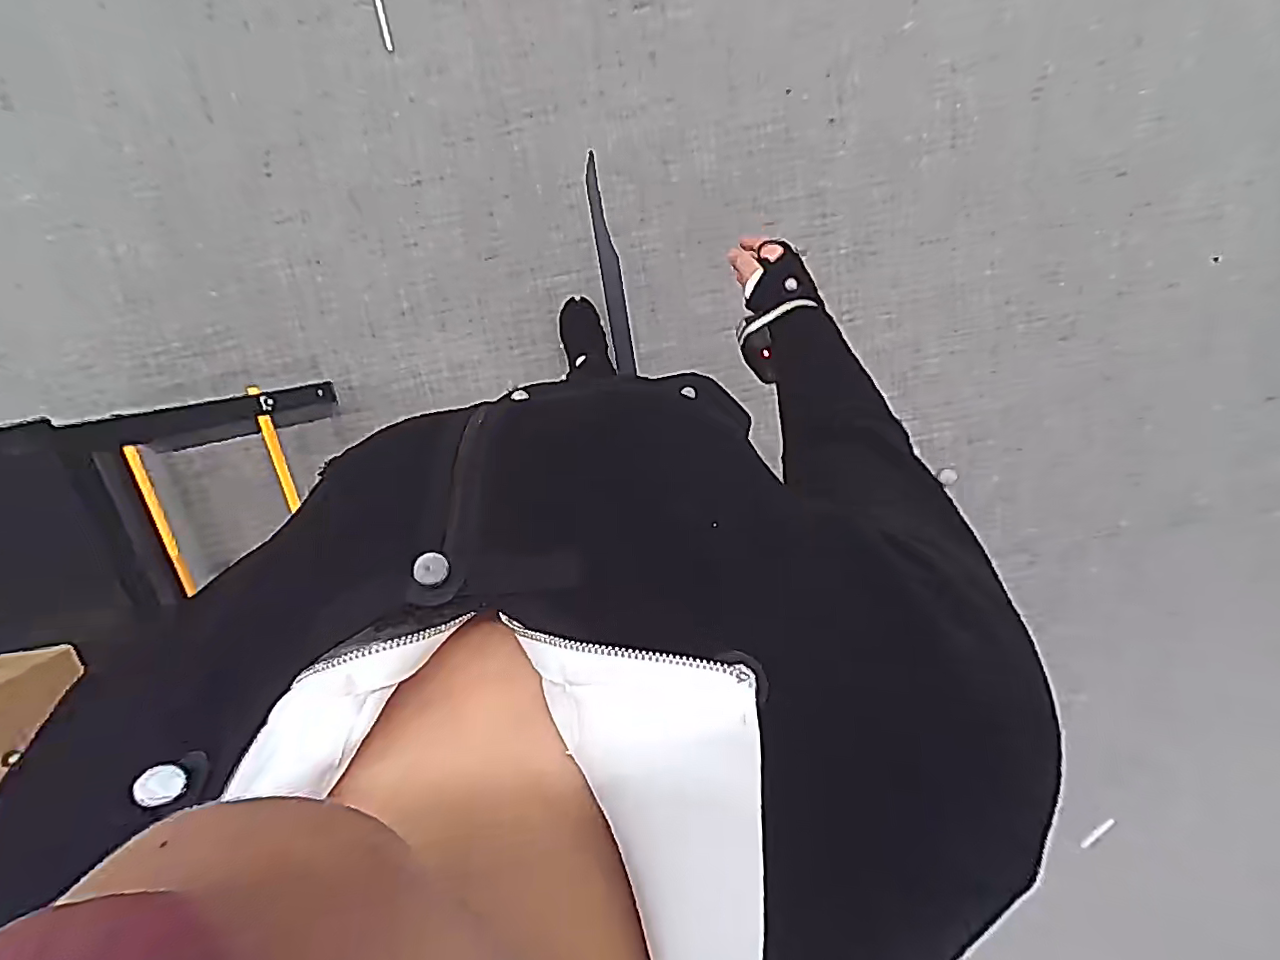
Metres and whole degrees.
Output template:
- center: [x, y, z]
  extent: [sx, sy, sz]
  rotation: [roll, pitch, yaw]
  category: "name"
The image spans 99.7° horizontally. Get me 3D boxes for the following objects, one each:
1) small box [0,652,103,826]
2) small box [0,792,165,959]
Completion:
- center: [-0.918, 0.367, 0.748]
  extent: [0.168, 0.176, 0.179]
  rotation: [-9, 104, 2]
  category: "small box"
- center: [-0.882, 0.598, 0.809]
  extent: [0.168, 0.176, 0.179]
  rotation: [-9, 105, 3]
  category: "small box"
